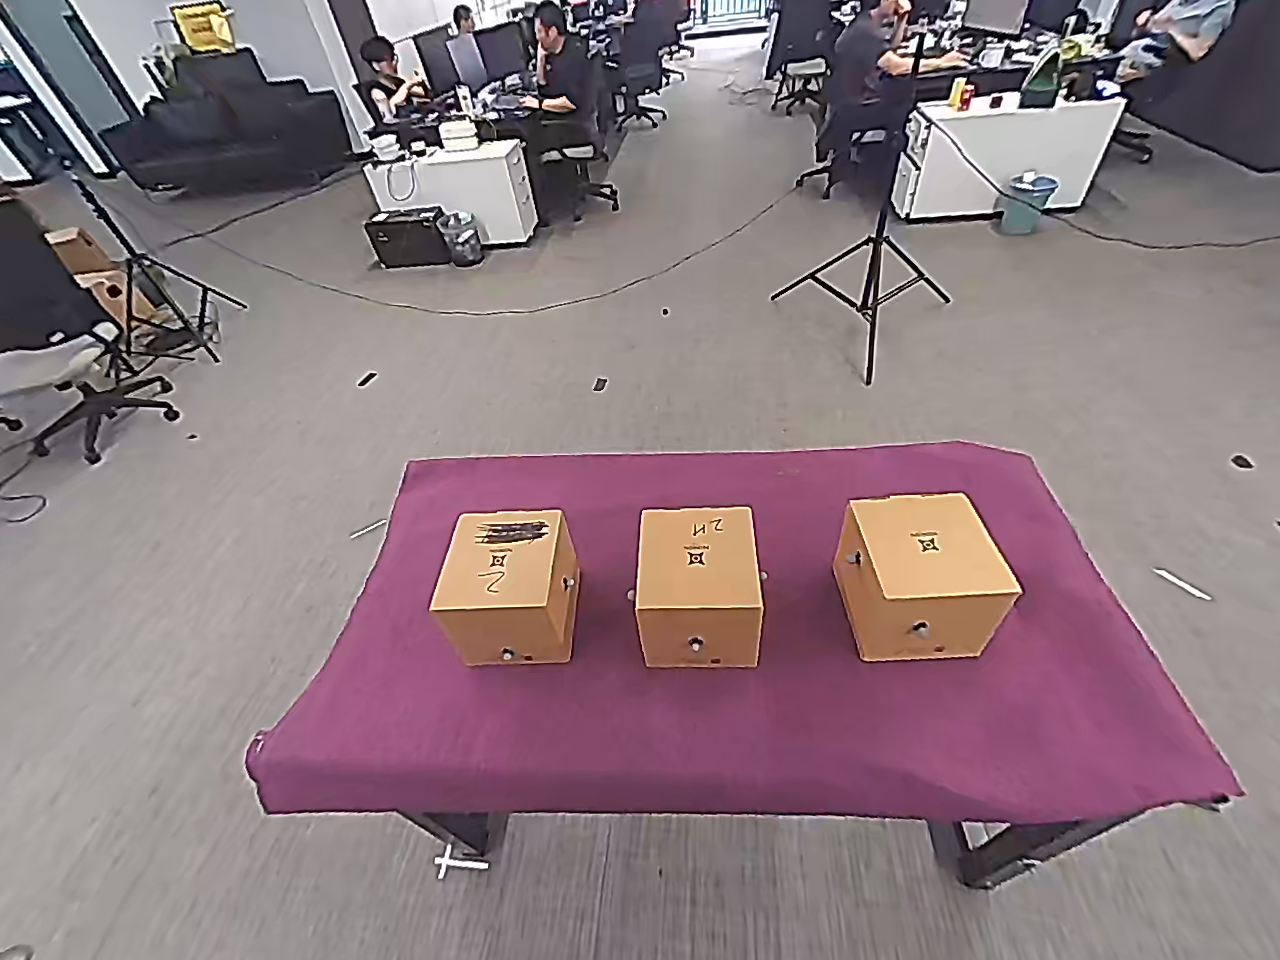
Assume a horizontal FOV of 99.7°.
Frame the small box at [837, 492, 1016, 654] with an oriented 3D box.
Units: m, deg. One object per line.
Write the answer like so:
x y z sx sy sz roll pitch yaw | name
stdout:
0.398 0.141 0.789 0.168 0.176 0.179 -5 43 5 | small box

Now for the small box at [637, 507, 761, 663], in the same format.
0.090 0.160 0.815 0.168 0.176 0.179 -1 45 6 | small box
